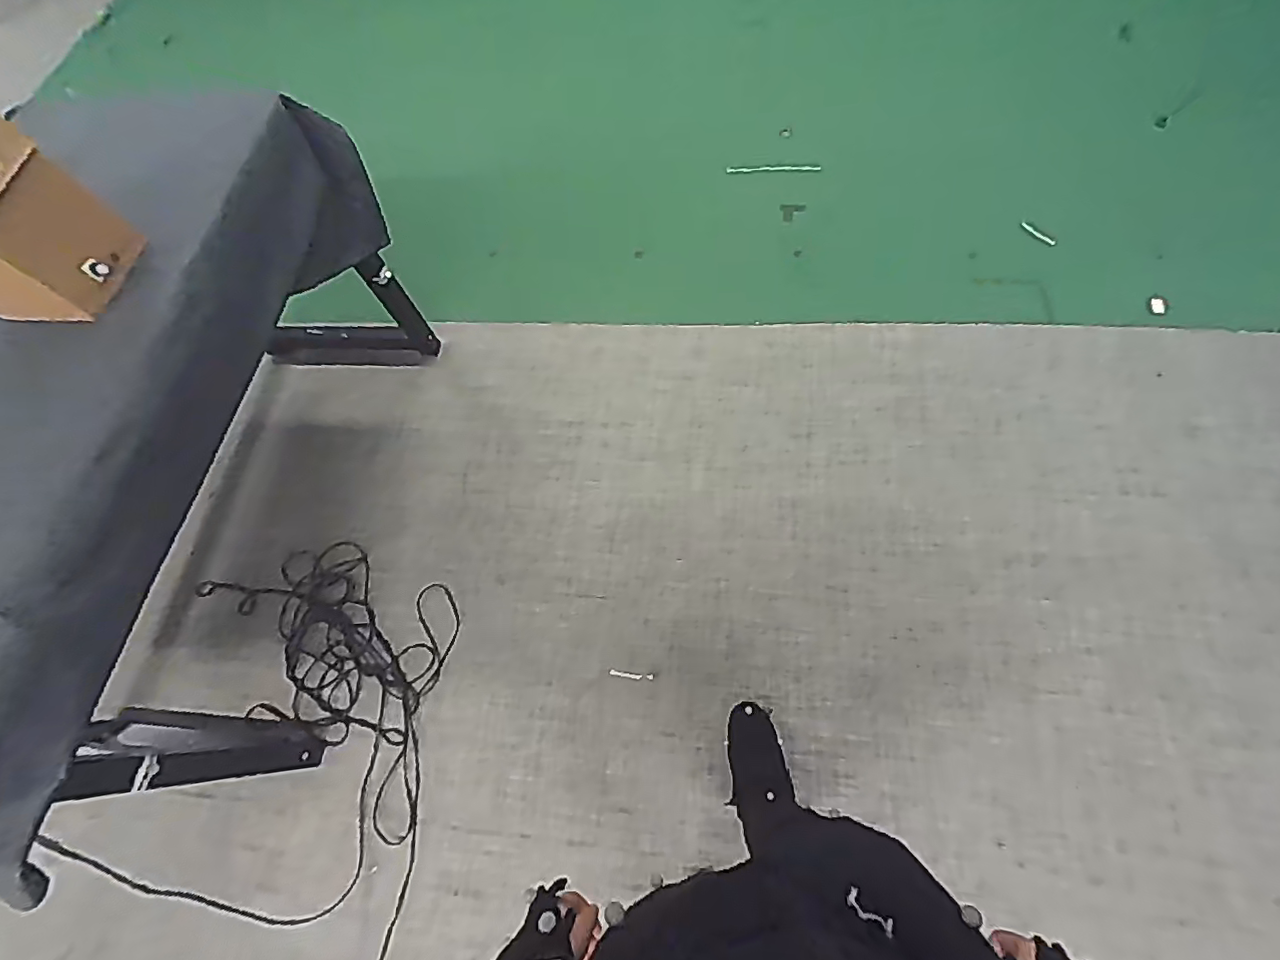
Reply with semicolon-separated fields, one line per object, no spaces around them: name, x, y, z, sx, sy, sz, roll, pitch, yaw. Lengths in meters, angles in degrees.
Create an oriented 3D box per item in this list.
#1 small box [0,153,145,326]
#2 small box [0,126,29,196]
small box;-0.903;-0.343;0.790;0.179;0.176;0.168;3;68;7
small box;-0.914;-0.403;0.639;0.179;0.176;0.168;1;68;9
